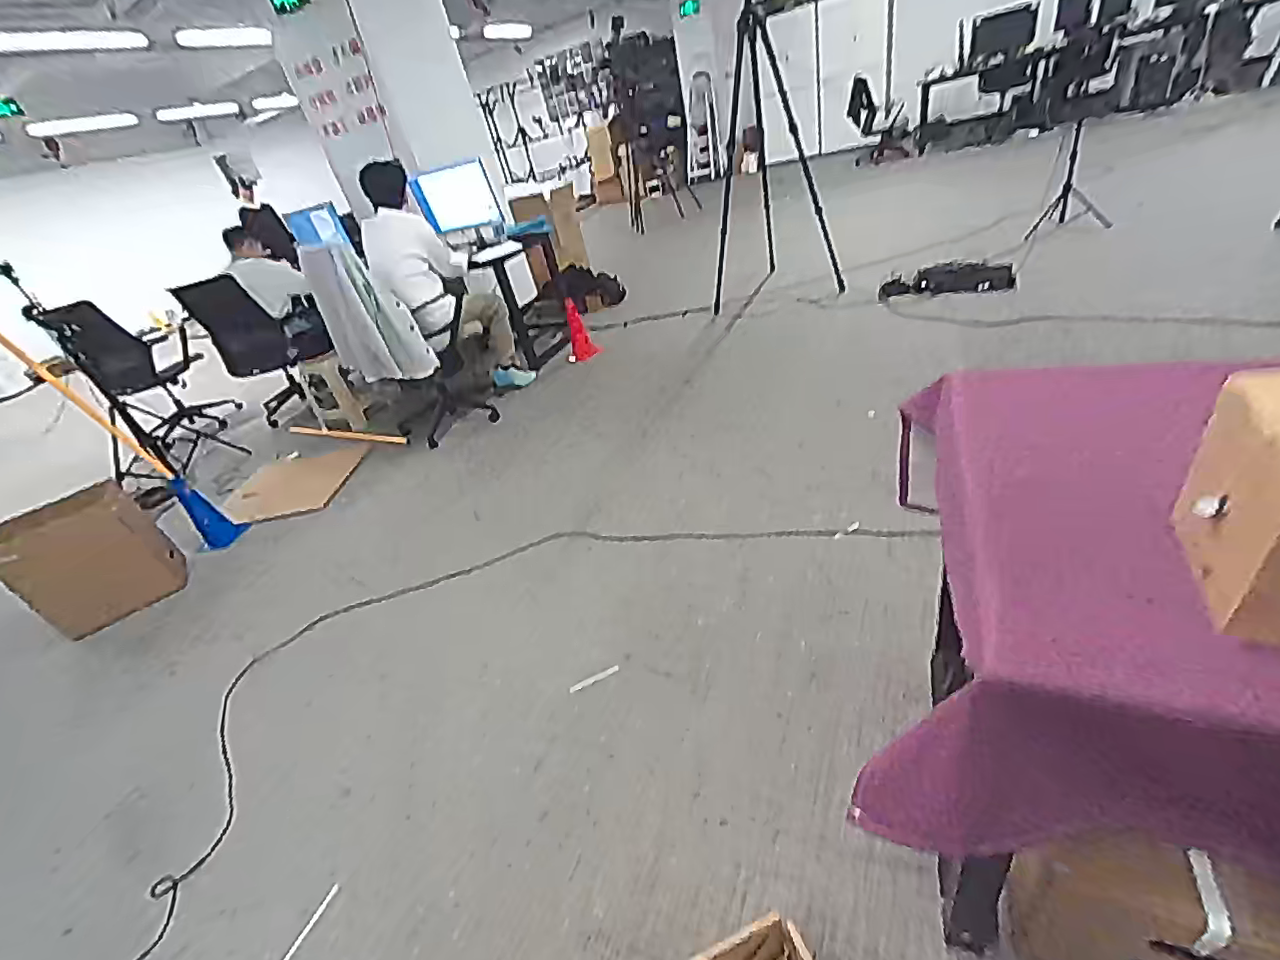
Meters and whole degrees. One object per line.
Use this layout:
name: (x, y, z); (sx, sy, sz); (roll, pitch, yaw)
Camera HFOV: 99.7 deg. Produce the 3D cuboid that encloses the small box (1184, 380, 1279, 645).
small box: (0.584, 0.031, 0.433); (0.179, 0.176, 0.168); (4, 39, 29)
